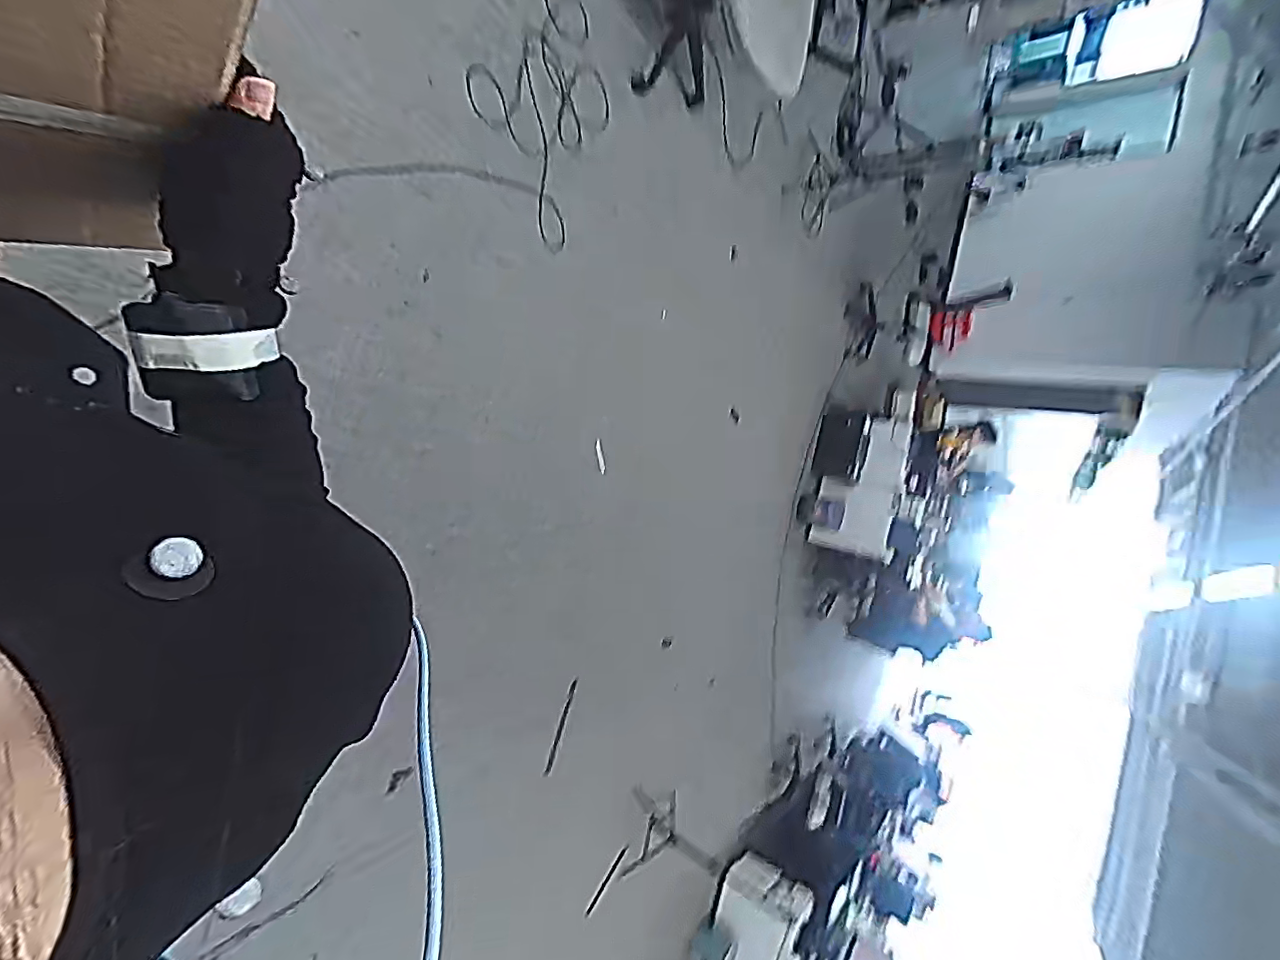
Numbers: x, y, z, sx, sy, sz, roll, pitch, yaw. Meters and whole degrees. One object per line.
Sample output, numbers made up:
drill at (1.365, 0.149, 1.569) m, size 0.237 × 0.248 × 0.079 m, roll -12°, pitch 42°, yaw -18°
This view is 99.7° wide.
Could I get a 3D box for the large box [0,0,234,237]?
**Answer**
large box at (-0.420, -0.298, 0.152) m, size 0.408 × 0.320 × 0.320 m, roll -22°, pitch 100°, yaw -46°
